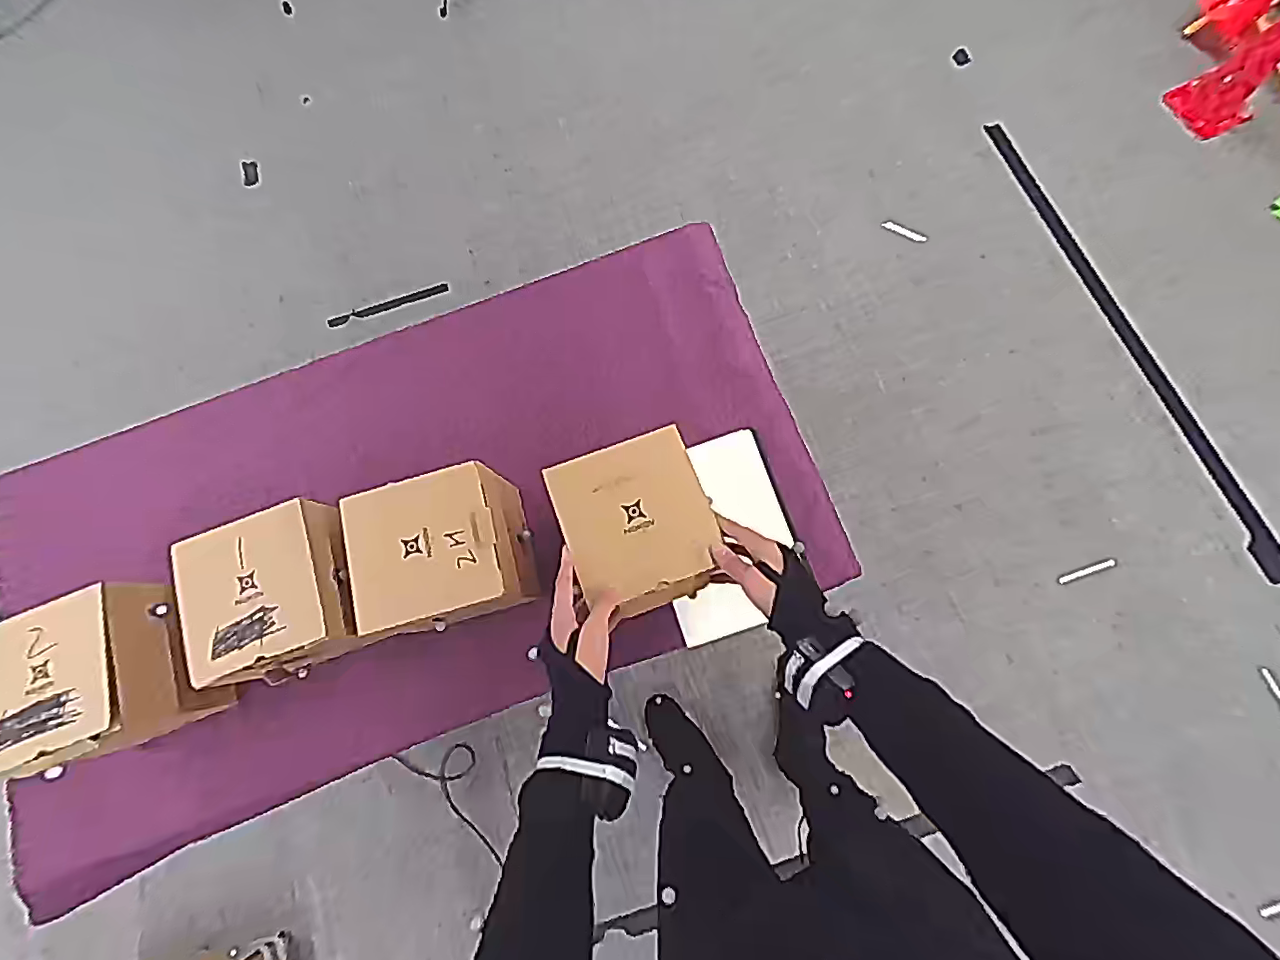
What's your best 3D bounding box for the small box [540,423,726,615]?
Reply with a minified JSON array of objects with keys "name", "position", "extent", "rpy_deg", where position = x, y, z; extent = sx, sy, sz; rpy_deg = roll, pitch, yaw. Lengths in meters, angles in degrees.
[{"name":"small box","position":[-0.008,0.060,0.670],"extent":[0.168,0.176,0.179],"rpy_deg":[-20,72,-5]}]
